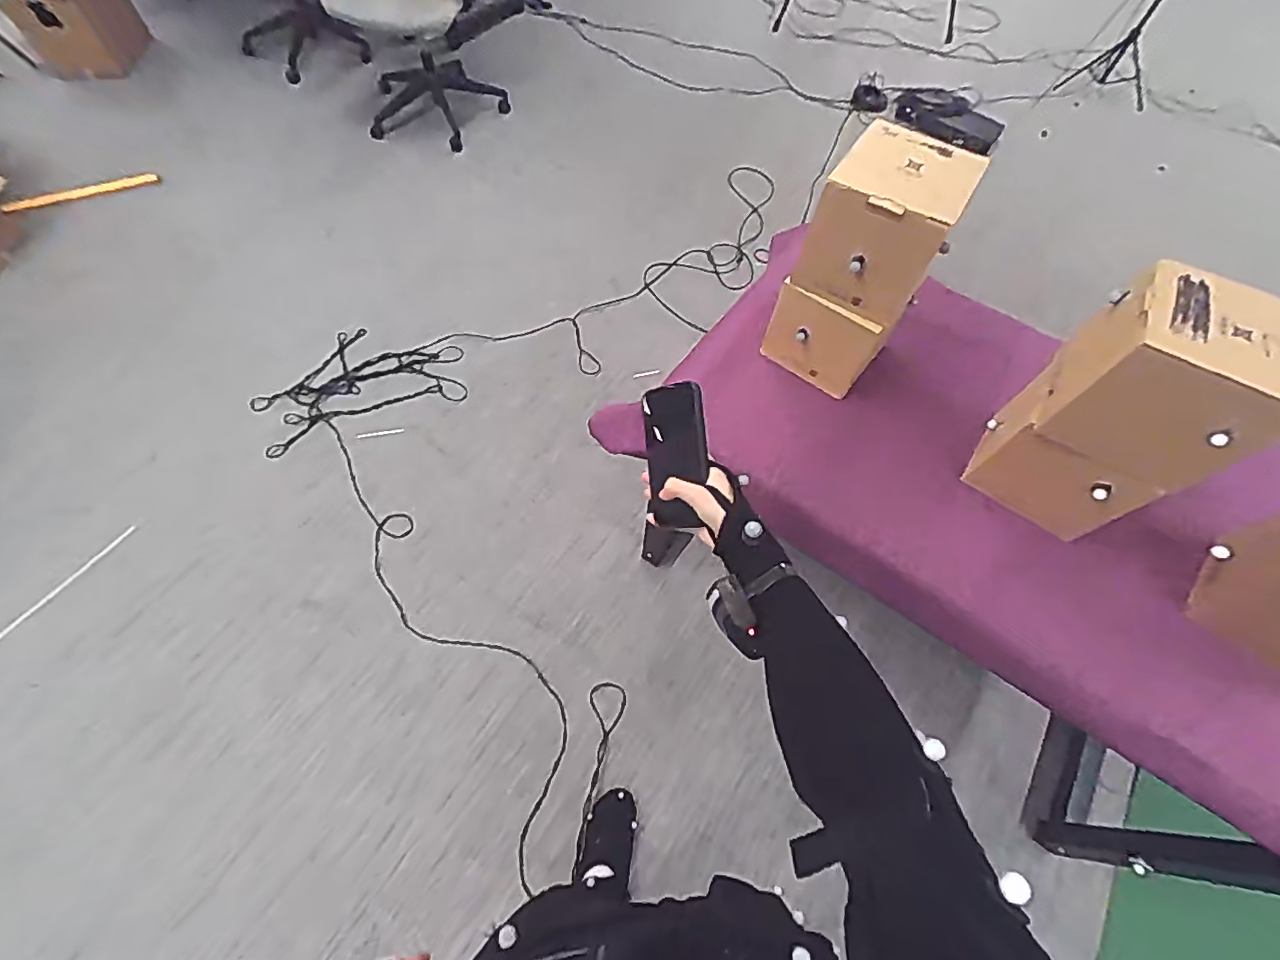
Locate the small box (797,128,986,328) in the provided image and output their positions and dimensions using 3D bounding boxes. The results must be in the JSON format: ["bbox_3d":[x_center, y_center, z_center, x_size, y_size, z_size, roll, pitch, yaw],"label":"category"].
[{"bbox_3d":[0.344,-0.353,0.773,0.168,0.176,0.179,31,65,13],"label":"small box"}]

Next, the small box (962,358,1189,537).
[{"bbox_3d":[0.628,-0.038,0.797,0.179,0.176,0.168,35,65,16],"label":"small box"}]

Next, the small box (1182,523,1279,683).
[{"bbox_3d":[0.887,0.160,0.700,0.179,0.176,0.168,41,66,19],"label":"small box"}]

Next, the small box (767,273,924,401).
[{"bbox_3d":[0.333,-0.267,0.913,0.168,0.176,0.179,36,65,16],"label":"small box"}]
